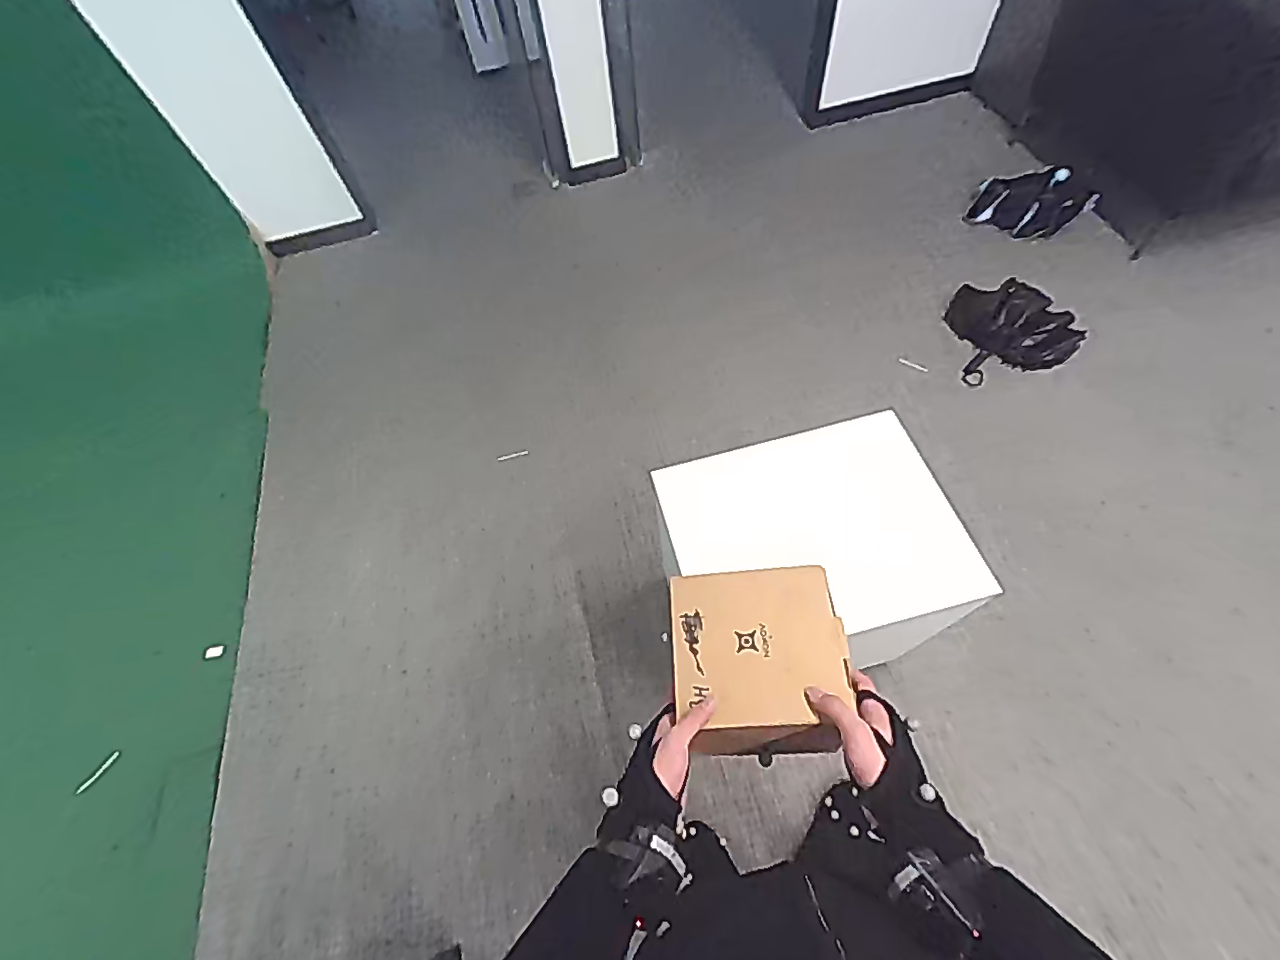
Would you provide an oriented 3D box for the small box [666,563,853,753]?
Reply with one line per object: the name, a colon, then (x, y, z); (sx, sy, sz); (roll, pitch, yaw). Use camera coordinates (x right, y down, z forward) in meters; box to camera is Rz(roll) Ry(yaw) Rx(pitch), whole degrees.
small box: (0.125, 0.210, 0.625); (0.179, 0.176, 0.168); (-5, 54, 7)
